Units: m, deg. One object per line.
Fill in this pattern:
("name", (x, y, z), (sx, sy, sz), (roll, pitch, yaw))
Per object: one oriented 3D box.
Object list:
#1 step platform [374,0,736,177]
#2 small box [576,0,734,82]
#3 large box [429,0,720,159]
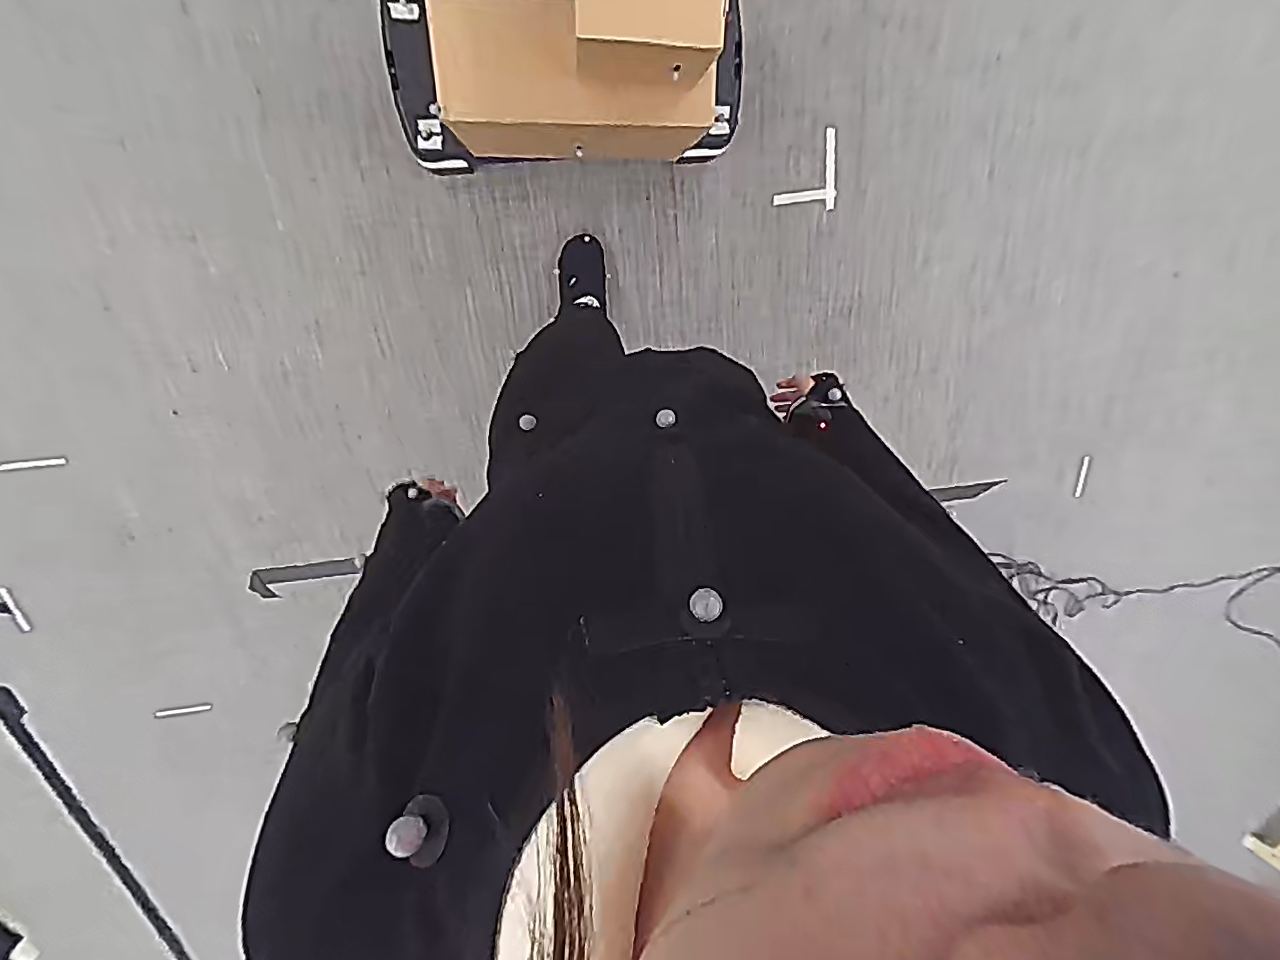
("step platform", (-0.153, -0.797, 1.085), (0.684, 0.204, 0.286), (-1, 112, -6))
("small box", (0.012, -0.609, 0.658), (0.179, 0.176, 0.168), (-1, 112, -7))
("large box", (-0.098, -0.714, 0.867), (0.408, 0.320, 0.320), (-3, 111, -5))
